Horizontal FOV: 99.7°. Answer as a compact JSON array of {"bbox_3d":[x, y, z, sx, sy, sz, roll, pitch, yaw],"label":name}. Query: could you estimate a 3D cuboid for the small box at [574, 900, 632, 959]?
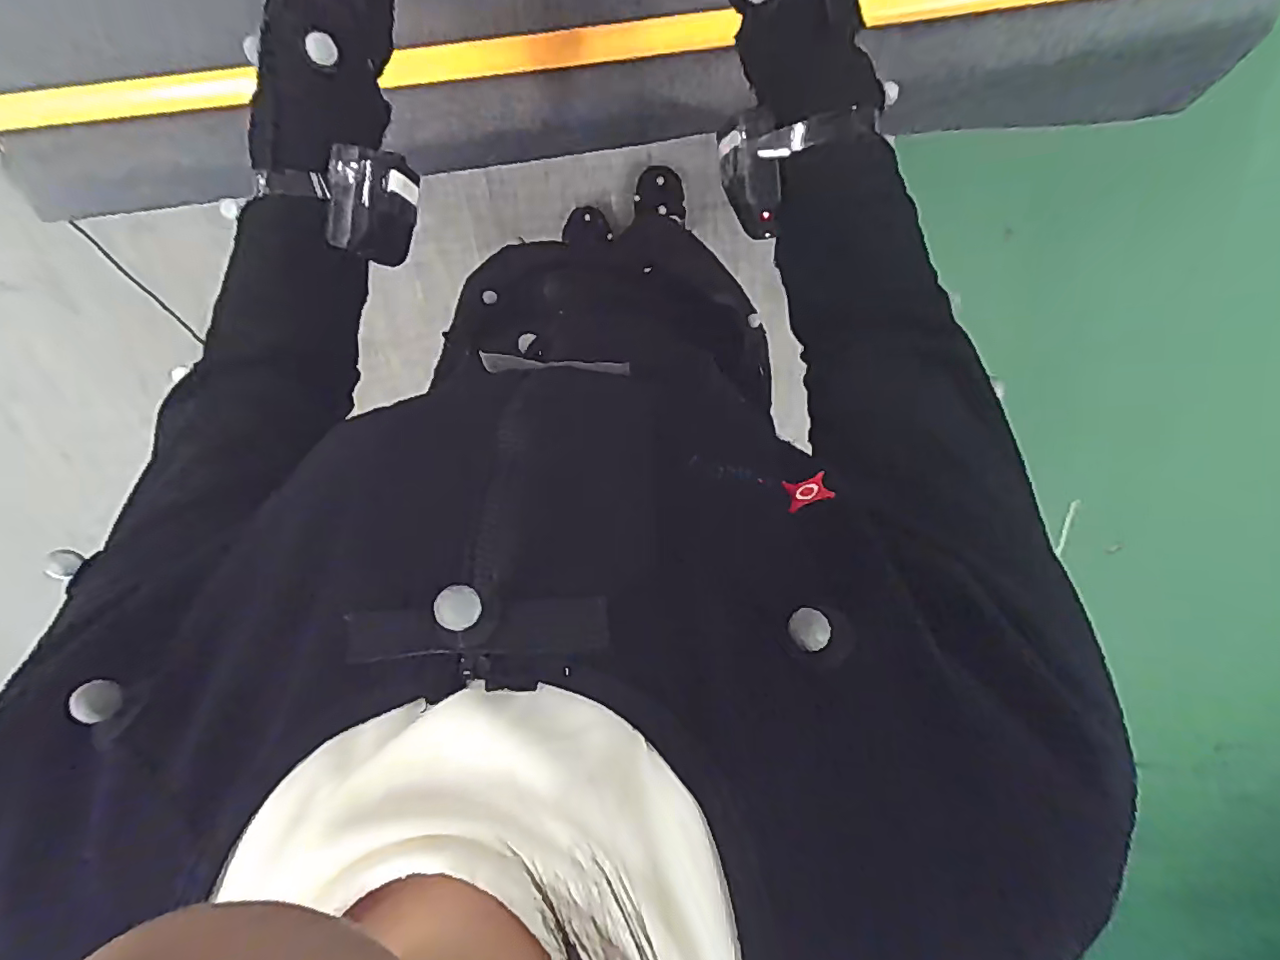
[{"bbox_3d":[-0.122,1.591,1.865,0.168,0.176,0.179,-13,120,3],"label":"small box"}]
